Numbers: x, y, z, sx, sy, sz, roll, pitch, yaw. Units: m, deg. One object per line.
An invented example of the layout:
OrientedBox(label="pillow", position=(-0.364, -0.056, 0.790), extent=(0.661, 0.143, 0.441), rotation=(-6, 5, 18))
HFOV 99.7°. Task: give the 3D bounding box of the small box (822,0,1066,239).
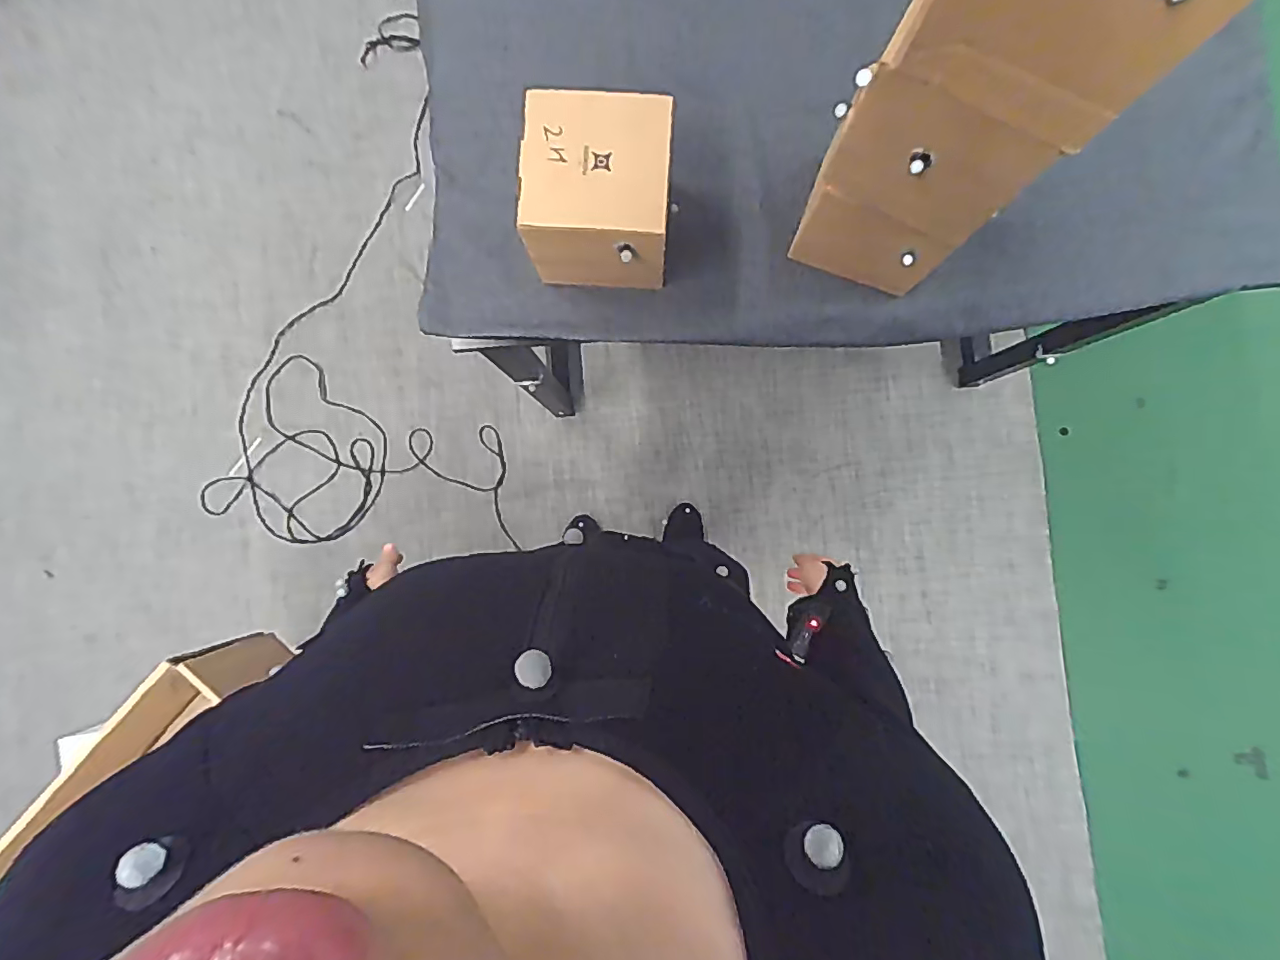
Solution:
OrientedBox(label="small box", position=(0.314, -0.373, 0.536), extent=(0.179, 0.176, 0.168), rotation=(29, 88, 4))

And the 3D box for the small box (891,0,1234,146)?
OrientedBox(label="small box", position=(0.312, -0.380, 0.374), extent=(0.179, 0.176, 0.168), rotation=(28, 87, 2))

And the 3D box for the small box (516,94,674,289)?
OrientedBox(label="small box", position=(-0.051, -0.363, 0.710), extent=(0.179, 0.176, 0.168), rotation=(3, 88, 2))
